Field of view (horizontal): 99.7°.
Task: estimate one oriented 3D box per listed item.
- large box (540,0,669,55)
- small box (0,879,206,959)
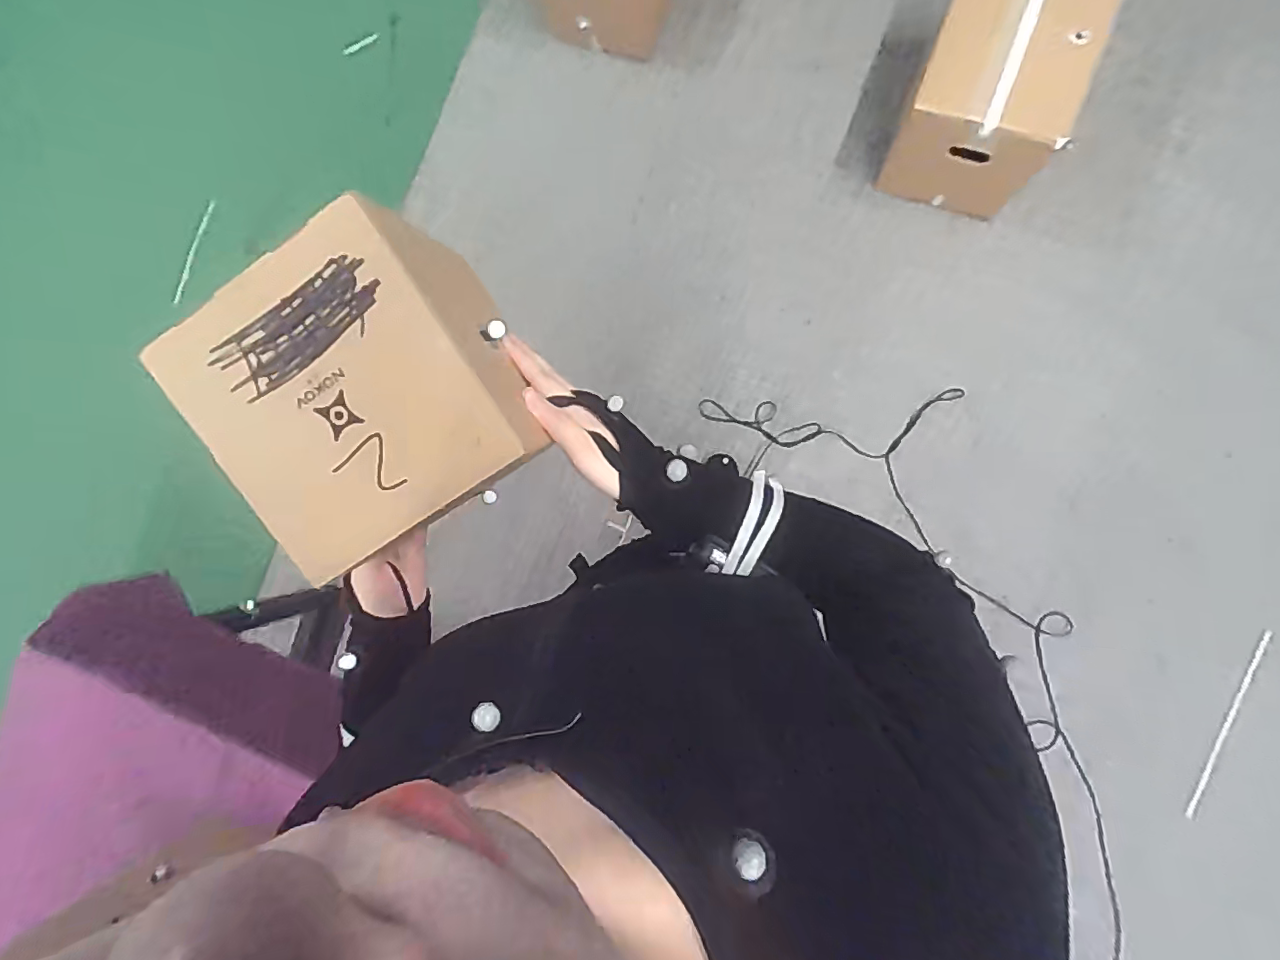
[{"bbox_3d":[-0.072,-1.429,1.397,0.320,0.320,0.408,21,91,9],"label":"large box"},{"bbox_3d":[-0.664,0.633,0.633,0.168,0.176,0.179,18,92,8],"label":"small box"}]
